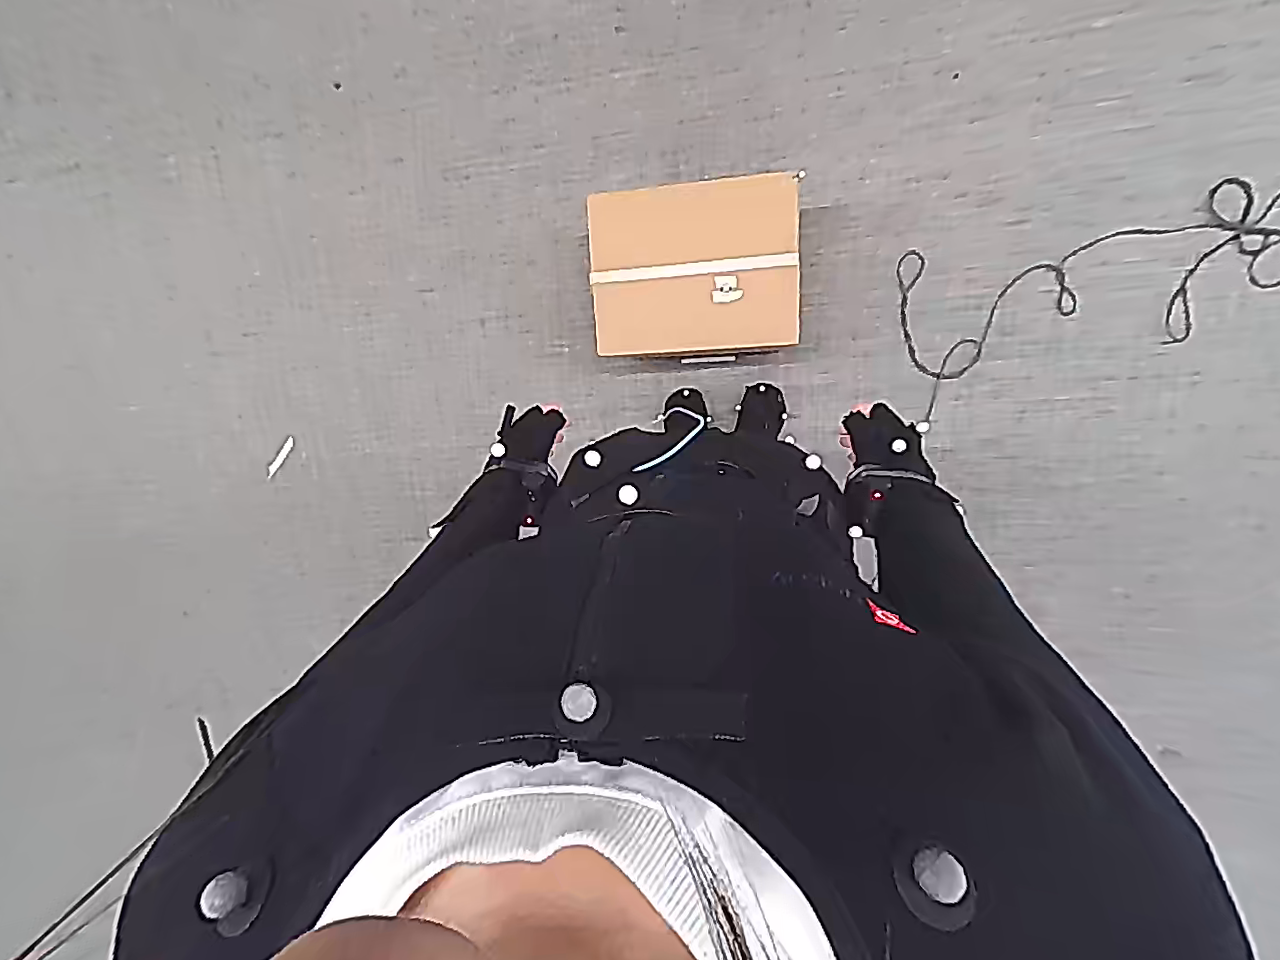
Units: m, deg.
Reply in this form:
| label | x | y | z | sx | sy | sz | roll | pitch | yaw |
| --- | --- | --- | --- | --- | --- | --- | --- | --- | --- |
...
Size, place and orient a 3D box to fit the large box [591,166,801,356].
| label | x | y | z | sx | sy | sz | roll | pitch | yaw |
| --- | --- | --- | --- | --- | --- | --- | --- | --- | --- |
| large box | 0.130 | -0.450 | 1.200 | 0.408 | 0.320 | 0.320 | -2 | 102 | 10 |
